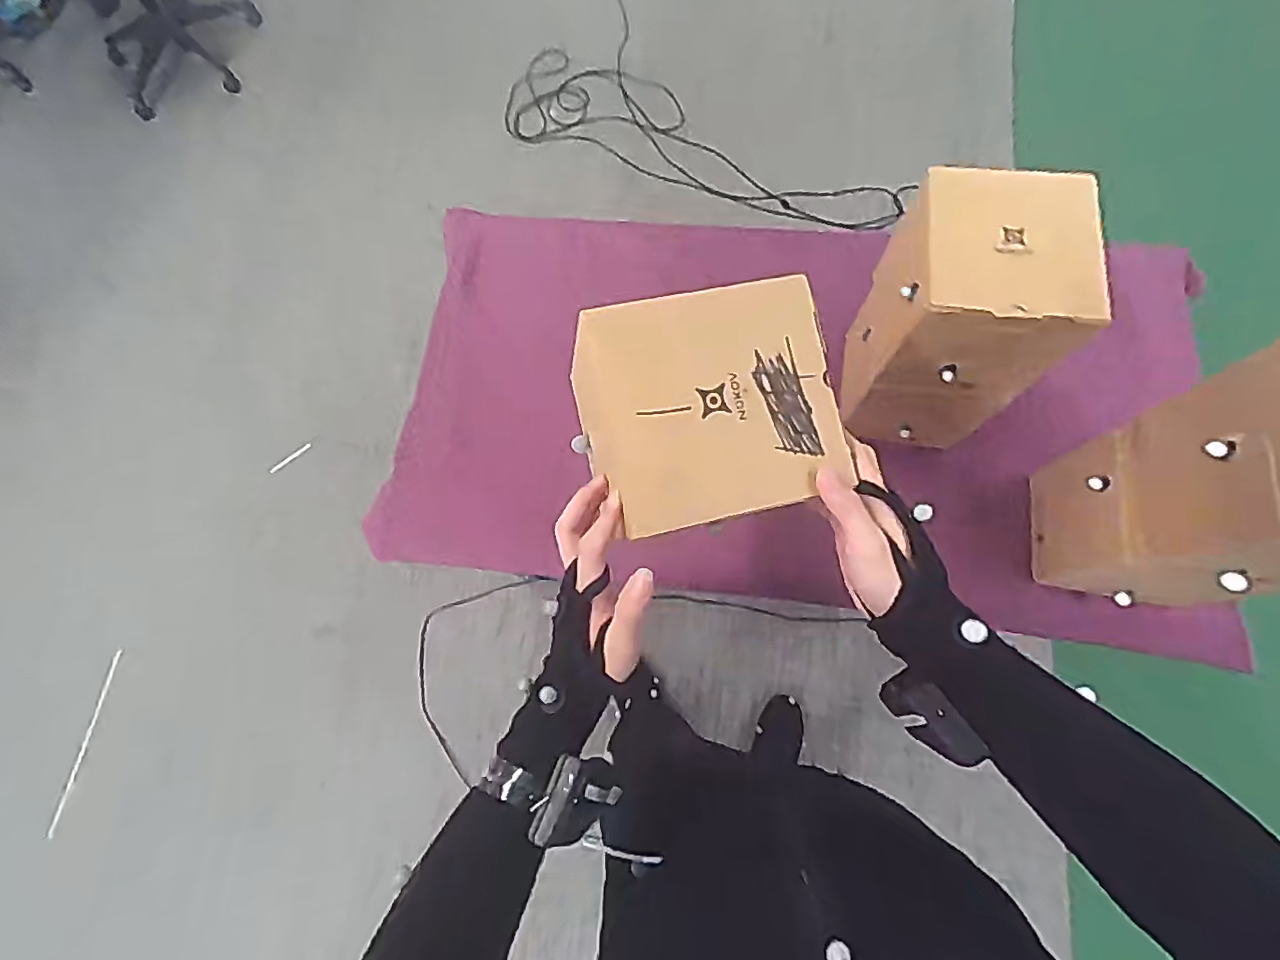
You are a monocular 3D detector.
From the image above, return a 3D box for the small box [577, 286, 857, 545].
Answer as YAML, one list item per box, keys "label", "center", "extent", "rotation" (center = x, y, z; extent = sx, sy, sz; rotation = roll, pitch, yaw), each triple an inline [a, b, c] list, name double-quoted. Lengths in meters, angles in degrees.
- label: "small box"
  center: [0.049, -0.045, 0.466]
  extent: [0.179, 0.176, 0.168]
  rotation: [-12, 87, -10]

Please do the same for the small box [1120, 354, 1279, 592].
- label: "small box"
  center: [0.622, 0.003, 0.533]
  extent: [0.168, 0.176, 0.179]
  rotation: [9, 74, 9]

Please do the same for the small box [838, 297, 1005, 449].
- label: "small box"
  center: [0.391, -0.164, 0.773]
  extent: [0.168, 0.176, 0.179]
  rotation: [10, 74, 7]

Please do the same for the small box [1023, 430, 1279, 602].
- label: "small box"
  center: [0.631, 0.055, 0.687]
  extent: [0.179, 0.176, 0.168]
  rotation: [10, 73, 7]

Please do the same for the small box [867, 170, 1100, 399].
- label: "small box"
  center: [0.373, -0.213, 0.619]
  extent: [0.168, 0.176, 0.179]
  rotation: [7, 75, 6]
